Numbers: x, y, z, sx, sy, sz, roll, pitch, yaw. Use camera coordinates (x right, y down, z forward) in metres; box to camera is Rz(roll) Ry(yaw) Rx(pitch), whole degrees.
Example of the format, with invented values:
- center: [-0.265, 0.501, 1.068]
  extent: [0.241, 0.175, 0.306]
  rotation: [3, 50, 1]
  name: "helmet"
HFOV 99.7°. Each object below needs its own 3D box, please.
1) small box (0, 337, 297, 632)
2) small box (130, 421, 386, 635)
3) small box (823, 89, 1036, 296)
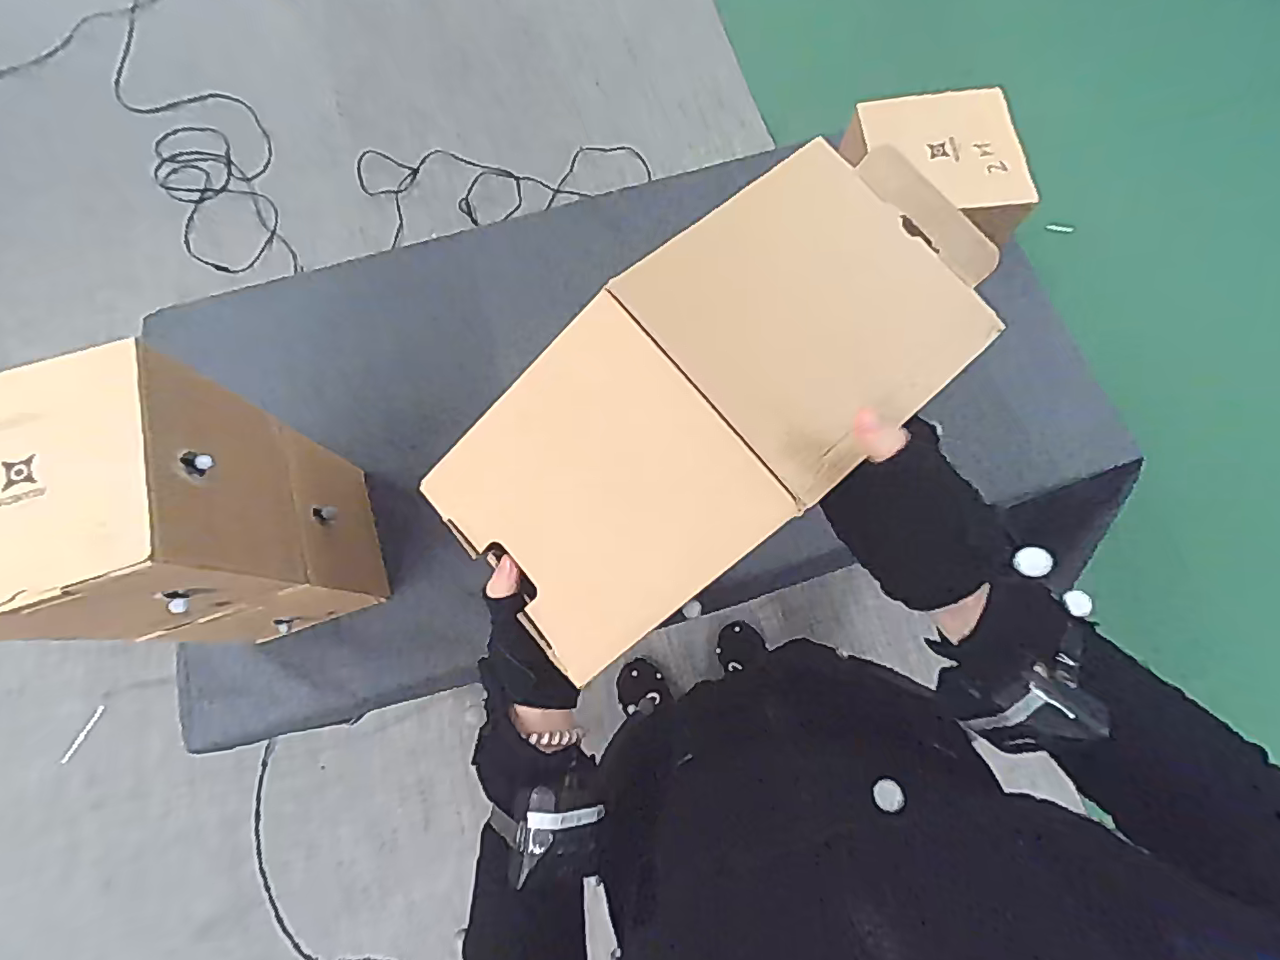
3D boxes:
- center: [-0.414, 0.018, 0.441]
  extent: [0.168, 0.176, 0.179]
  rotation: [-17, 74, -5]
  name: "small box"
- center: [-0.410, 0.064, 0.598]
  extent: [0.168, 0.176, 0.179]
  rotation: [-19, 75, -4]
  name: "small box"
- center: [0.348, -0.355, 0.694]
  extent: [0.179, 0.176, 0.168]
  rotation: [-5, 75, 0]
  name: "small box"
